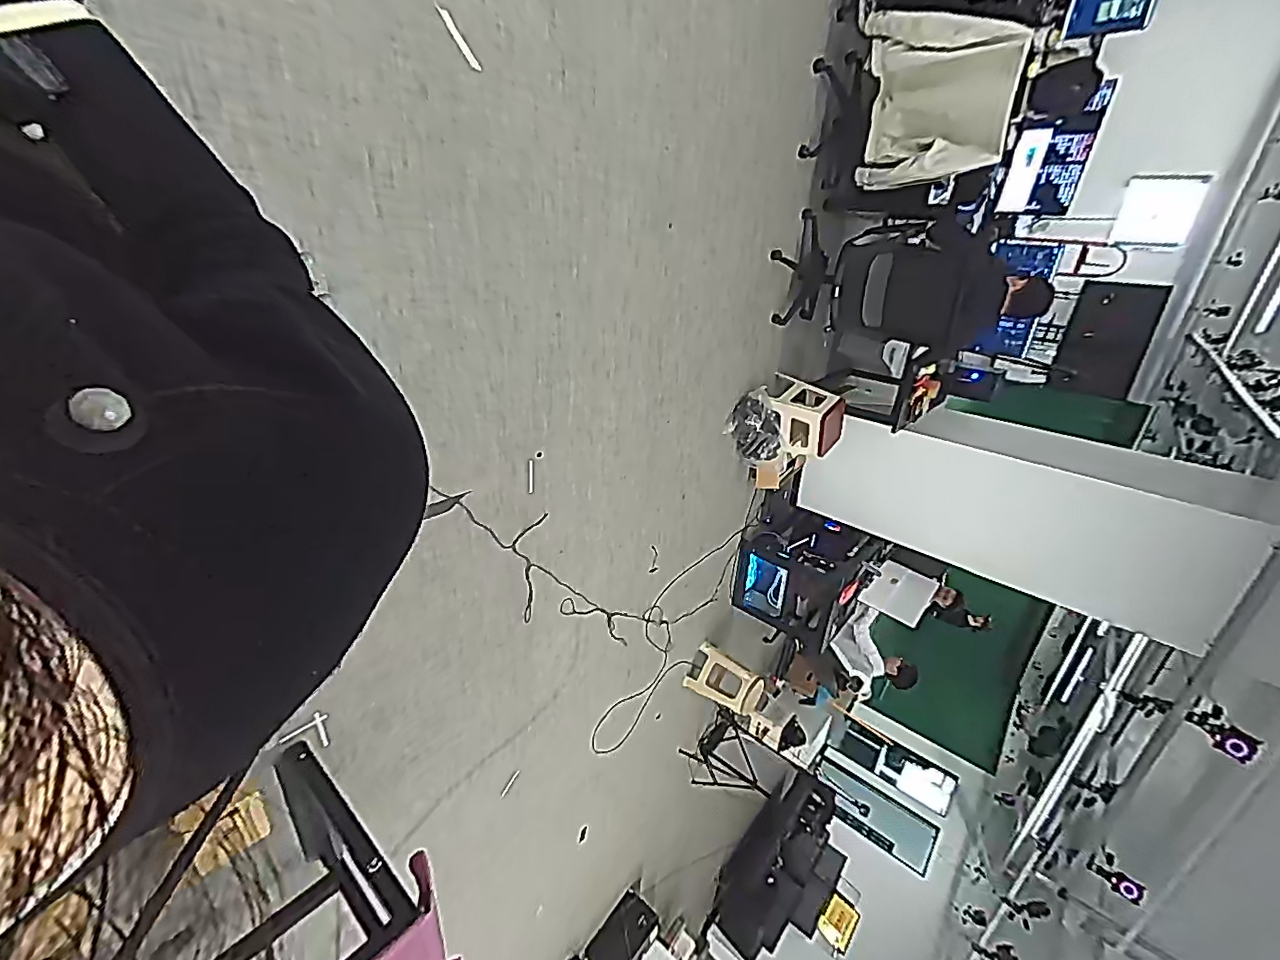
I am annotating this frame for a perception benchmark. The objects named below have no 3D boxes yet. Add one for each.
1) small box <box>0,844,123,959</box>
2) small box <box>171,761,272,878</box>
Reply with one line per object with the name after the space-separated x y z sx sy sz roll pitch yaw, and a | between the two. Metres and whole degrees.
-1.347 1.002 1.251 0.168 0.176 0.179 -25 126 -45 | small box
-1.144 0.919 1.480 0.168 0.176 0.179 -22 126 -46 | small box
